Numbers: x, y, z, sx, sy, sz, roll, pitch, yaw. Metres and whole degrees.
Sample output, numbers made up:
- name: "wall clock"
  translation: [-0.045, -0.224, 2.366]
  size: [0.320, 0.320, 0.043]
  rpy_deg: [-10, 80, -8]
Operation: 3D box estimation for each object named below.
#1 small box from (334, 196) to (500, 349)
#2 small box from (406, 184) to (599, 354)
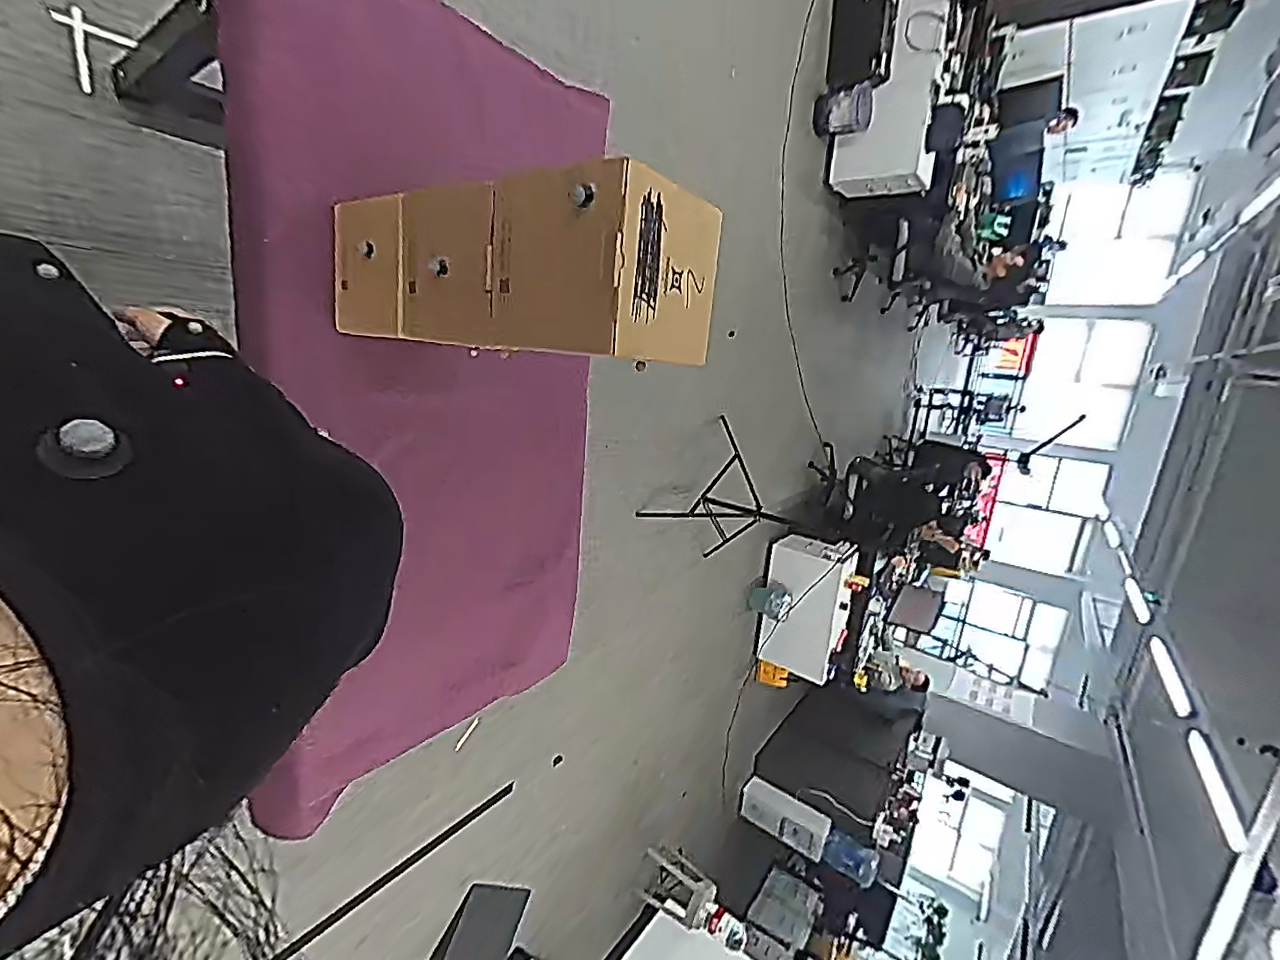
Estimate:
- name: "small box"
  translation: [-0.310, -0.281, 0.767]
  size: [0.179, 0.176, 0.168]
  rpy_deg: [-11, 111, -54]
- name: "small box"
  translation: [-0.175, -0.251, 0.680]
  size: [0.179, 0.176, 0.168]
  rpy_deg: [-14, 113, -53]
